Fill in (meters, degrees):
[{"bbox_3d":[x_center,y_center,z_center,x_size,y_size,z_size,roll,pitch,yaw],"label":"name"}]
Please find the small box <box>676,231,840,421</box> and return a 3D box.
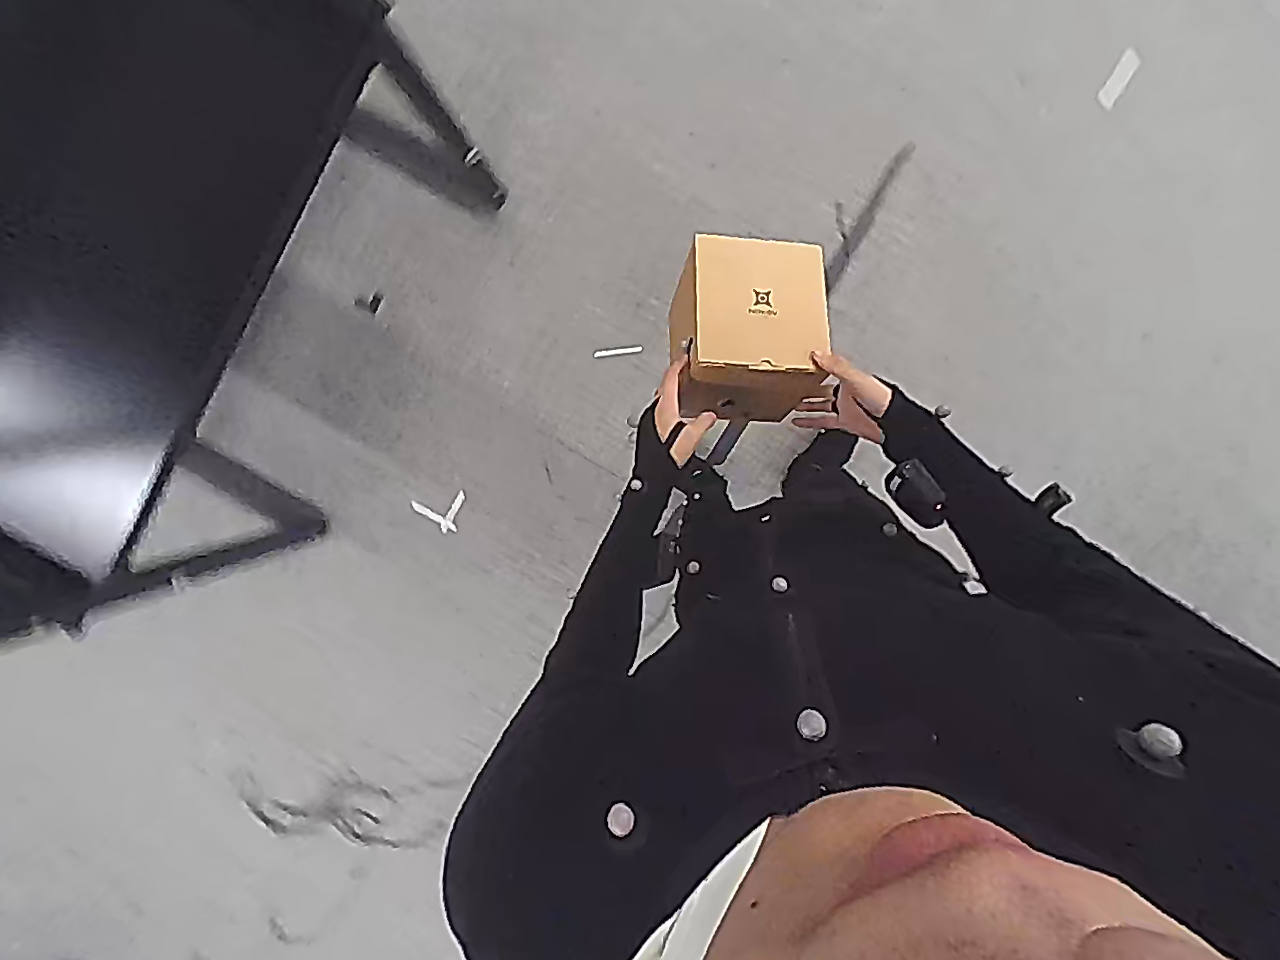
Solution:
[{"bbox_3d":[0.144,-0.193,0.720,0.168,0.176,0.179,3,76,-8],"label":"small box"}]
